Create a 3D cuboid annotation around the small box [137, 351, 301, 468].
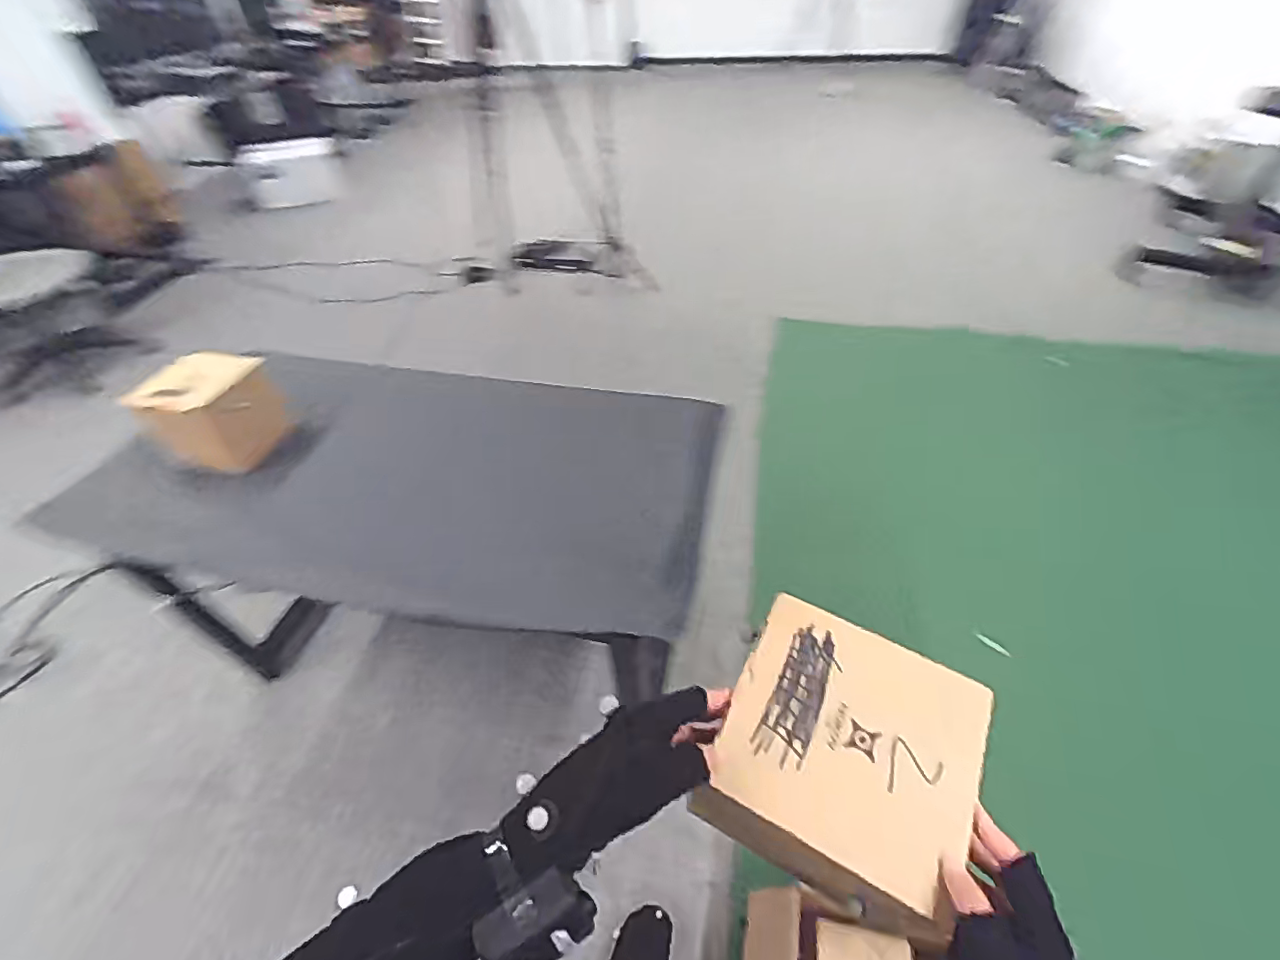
[{"bbox_3d":[-0.857,-0.145,1.126,0.168,0.176,0.179,8,46,10],"label":"small box"}]
